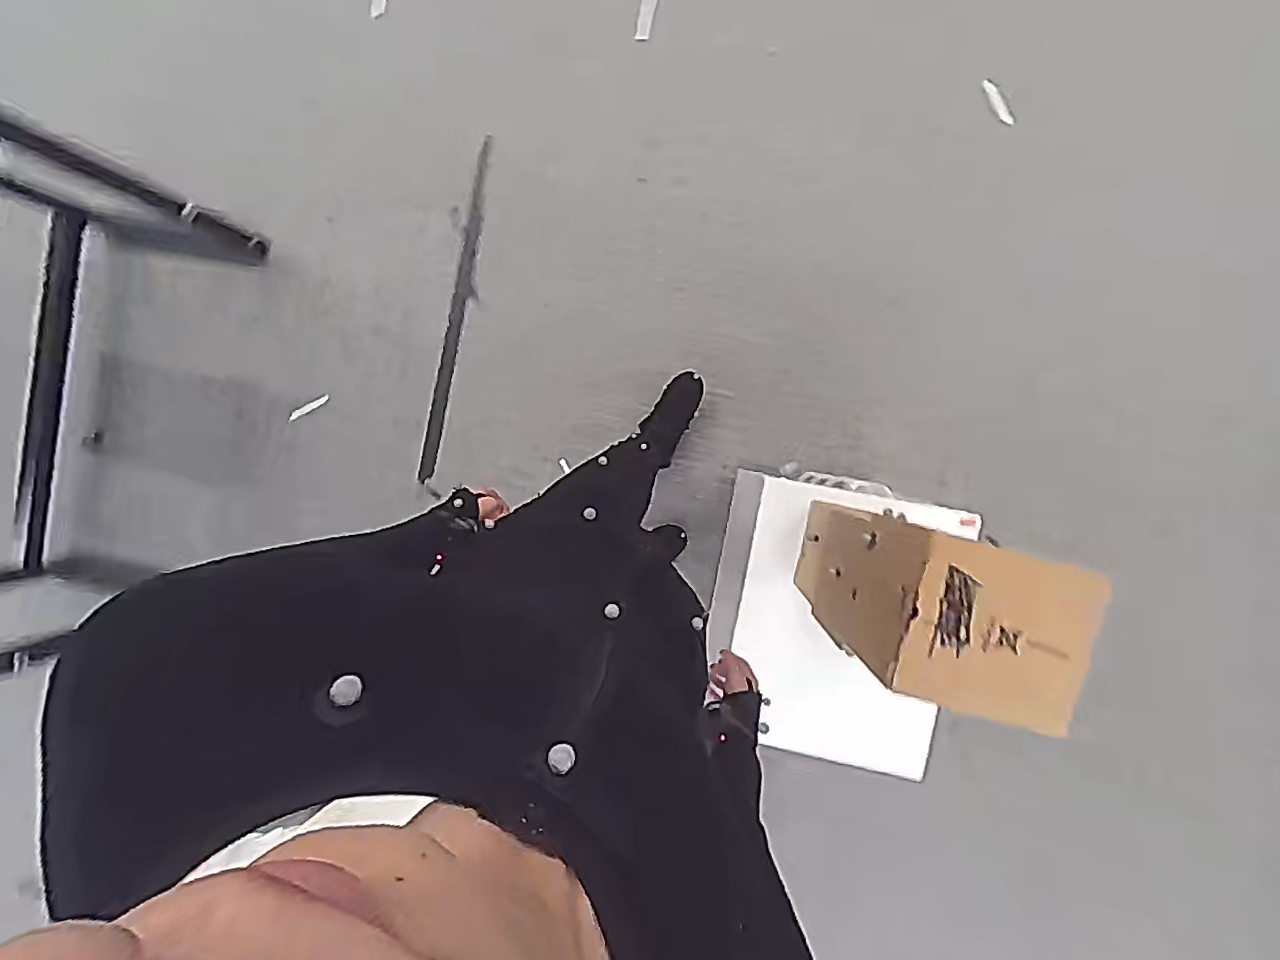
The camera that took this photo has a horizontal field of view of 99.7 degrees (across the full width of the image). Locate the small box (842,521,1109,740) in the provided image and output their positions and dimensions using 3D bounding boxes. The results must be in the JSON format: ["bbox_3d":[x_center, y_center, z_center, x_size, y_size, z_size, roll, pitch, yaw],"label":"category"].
[{"bbox_3d":[0.349,0.149,0.604,0.179,0.176,0.168,15,94,2],"label":"small box"}]

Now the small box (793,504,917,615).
[{"bbox_3d":[0.378,0.140,0.932,0.179,0.176,0.168,12,94,3],"label":"small box"}]
